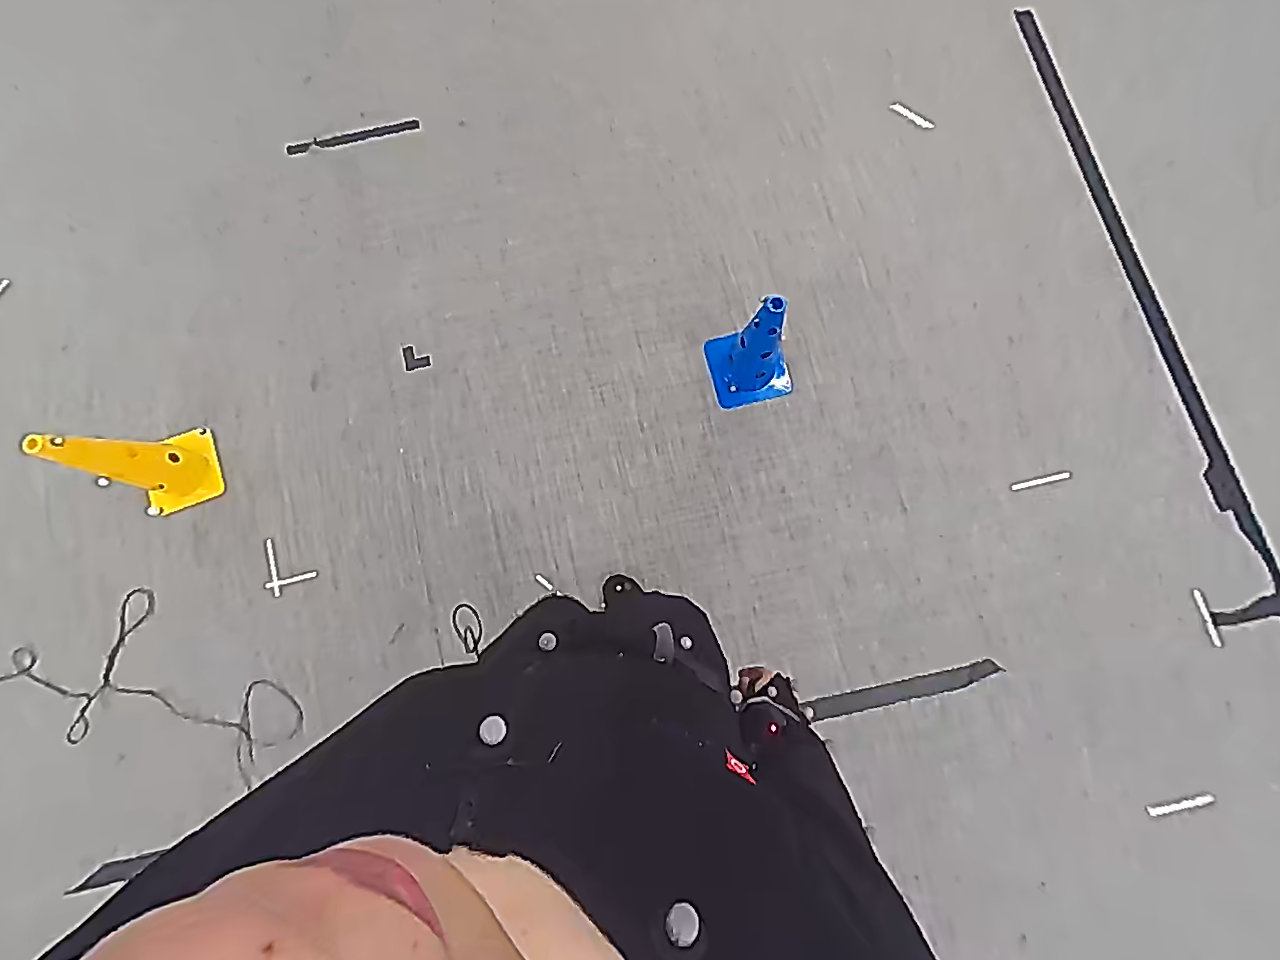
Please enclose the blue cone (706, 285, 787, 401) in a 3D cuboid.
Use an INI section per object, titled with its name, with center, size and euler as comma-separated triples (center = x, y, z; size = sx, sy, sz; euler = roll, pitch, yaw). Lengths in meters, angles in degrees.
[blue cone]
center = 0.276, -0.335, 1.266
size = 0.193, 0.380, 0.192
euler = -13, 80, 0
